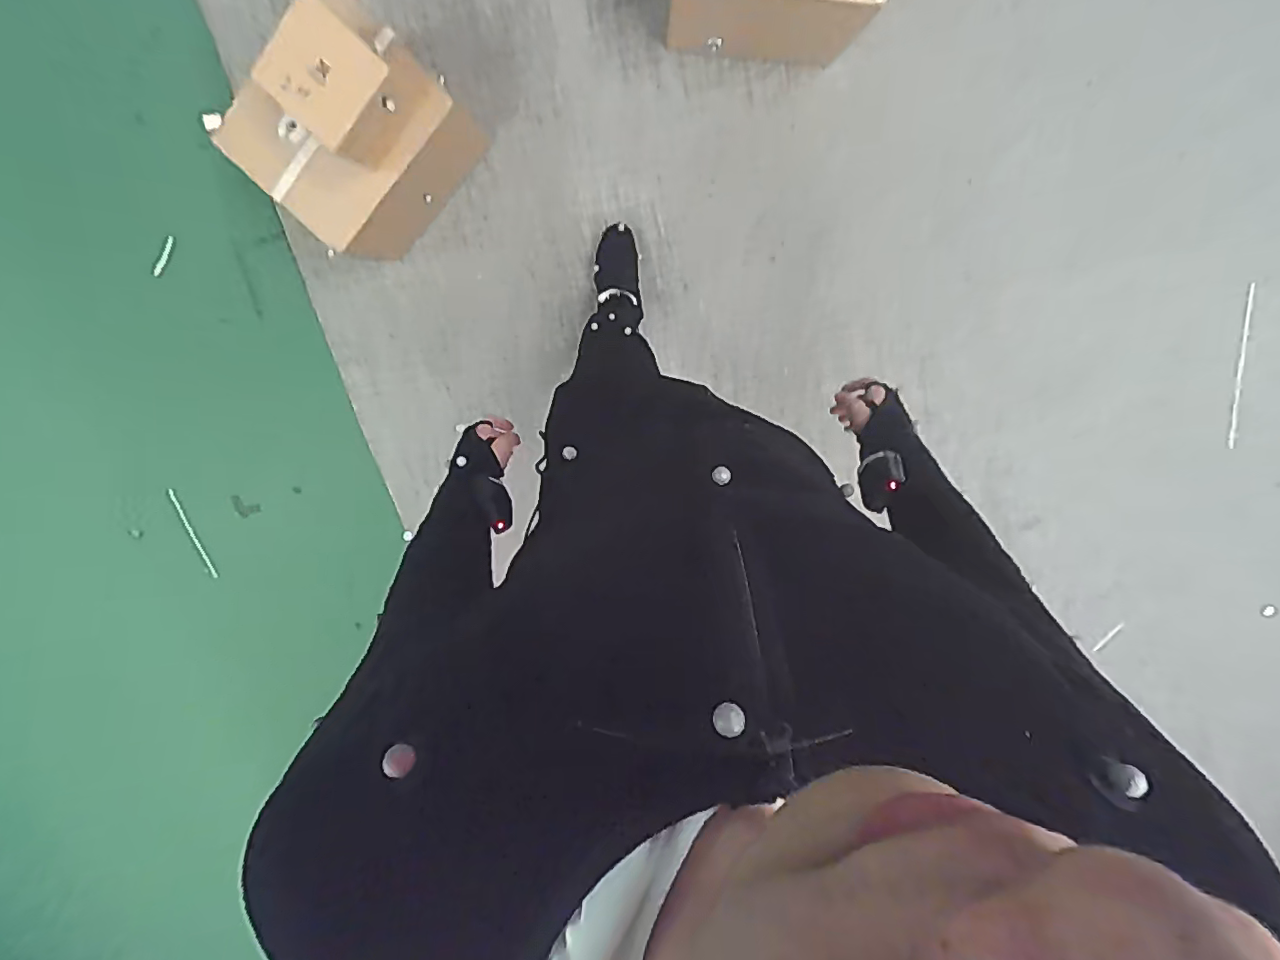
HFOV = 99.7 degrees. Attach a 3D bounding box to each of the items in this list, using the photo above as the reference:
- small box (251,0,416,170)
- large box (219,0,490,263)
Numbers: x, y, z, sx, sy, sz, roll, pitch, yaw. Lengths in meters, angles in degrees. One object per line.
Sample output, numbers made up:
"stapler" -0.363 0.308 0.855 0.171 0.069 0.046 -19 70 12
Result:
"small box" -0.535 -0.705 0.978 0.168 0.176 0.179 43 104 -14
"large box" -0.610 -0.758 1.221 0.320 0.320 0.408 43 104 -12
